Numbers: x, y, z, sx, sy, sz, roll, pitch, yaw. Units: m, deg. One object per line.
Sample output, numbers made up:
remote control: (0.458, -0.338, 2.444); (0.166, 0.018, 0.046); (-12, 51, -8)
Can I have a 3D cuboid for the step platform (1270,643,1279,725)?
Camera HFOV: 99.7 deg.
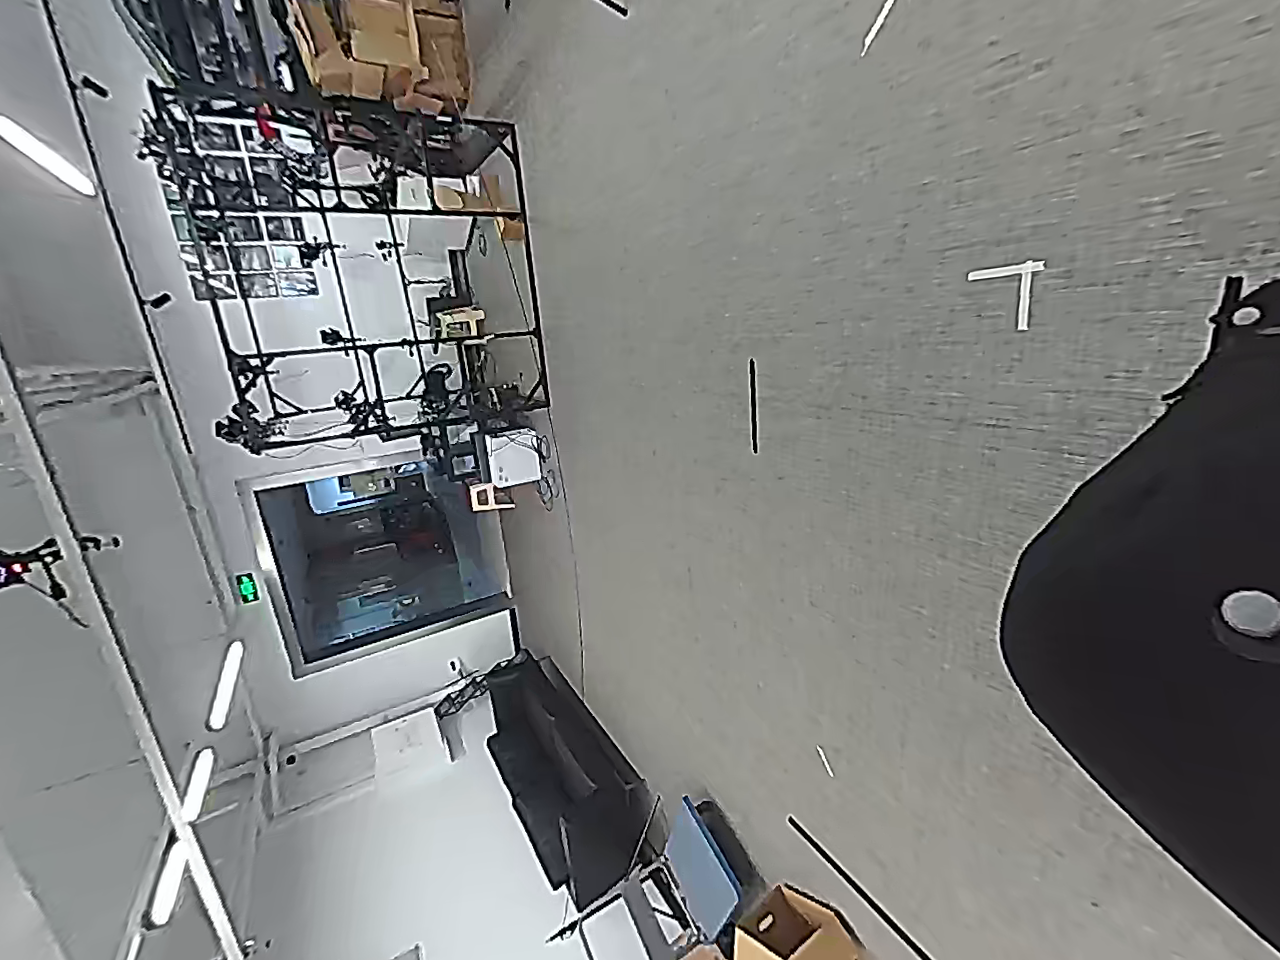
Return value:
step platform: (1.336, 0.353, 0.692); (0.684, 0.204, 0.286); (23, 121, 59)
